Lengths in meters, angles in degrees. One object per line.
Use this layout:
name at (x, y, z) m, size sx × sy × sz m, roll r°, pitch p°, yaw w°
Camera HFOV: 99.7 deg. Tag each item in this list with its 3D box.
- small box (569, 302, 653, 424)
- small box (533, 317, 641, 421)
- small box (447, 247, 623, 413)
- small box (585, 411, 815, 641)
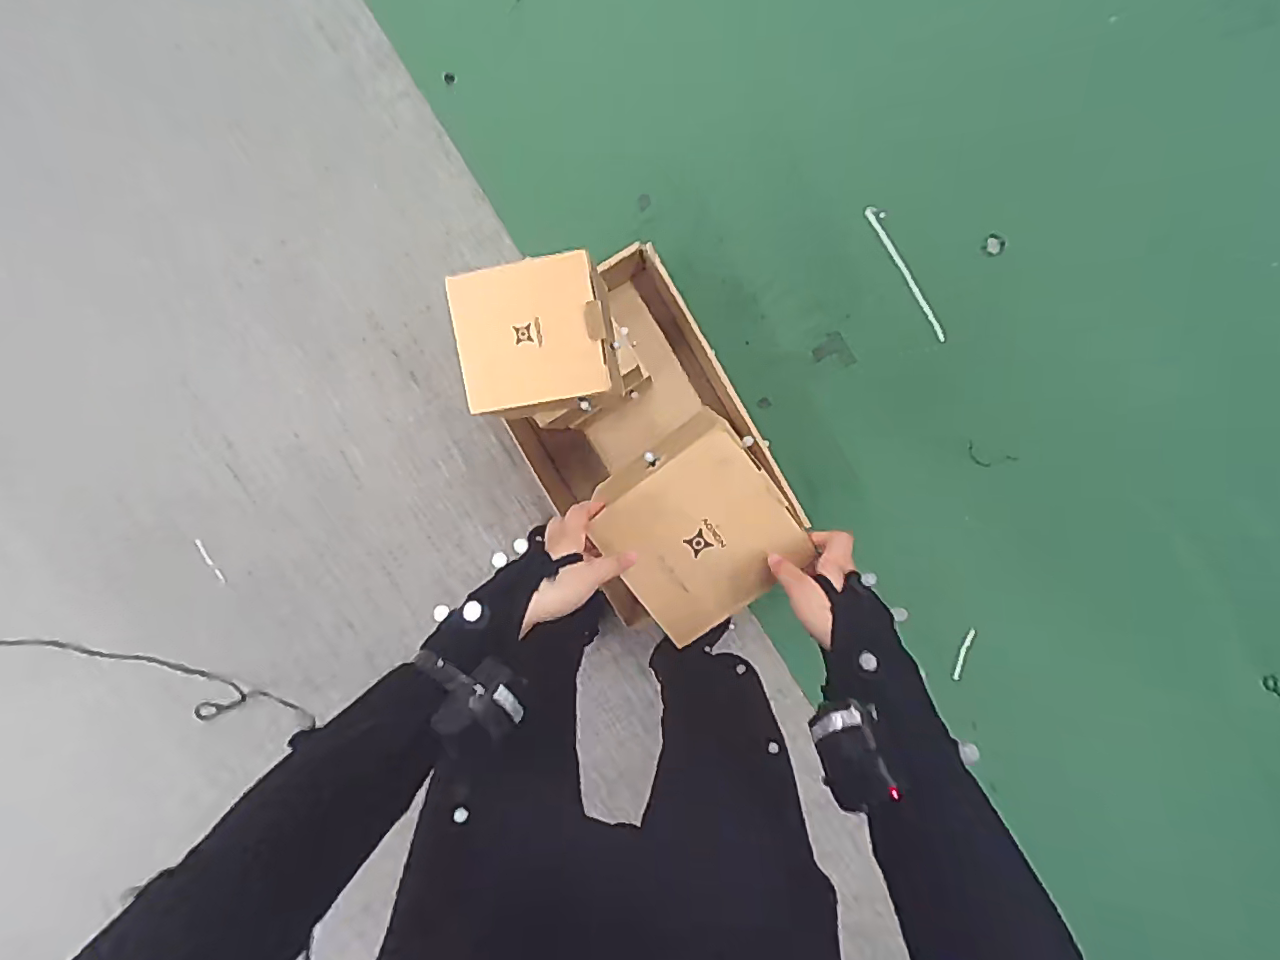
small box at (-0.089, -0.220, 1.032) m, size 0.179 × 0.176 × 0.168 m, roll -32°, pitch 93°, yaw 5°
small box at (-0.110, -0.204, 0.871) m, size 0.179 × 0.176 × 0.168 m, roll -31°, pitch 94°, yaw 5°
small box at (-0.125, -0.183, 0.710) m, size 0.179 × 0.176 × 0.168 m, roll -9°, pitch 95°, yaw 3°
small box at (0.061, 0.038, 0.613) m, size 0.179 × 0.176 × 0.168 m, roll -36°, pitch 99°, yaw 9°
